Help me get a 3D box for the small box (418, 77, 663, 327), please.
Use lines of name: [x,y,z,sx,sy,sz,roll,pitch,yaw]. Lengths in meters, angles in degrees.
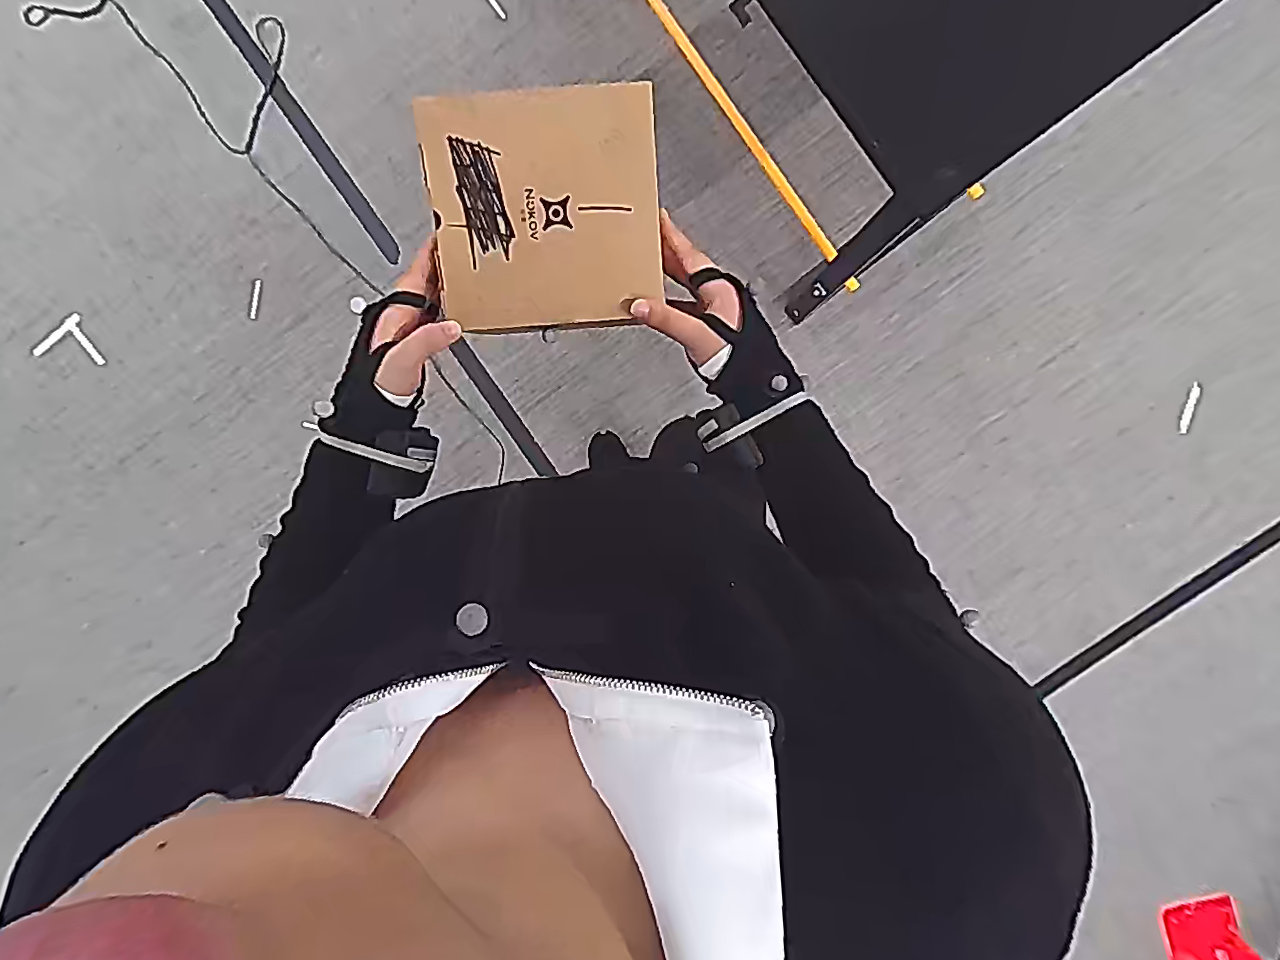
small box: [-0.075,-0.230,0.491,0.179,0.176,0.168,-5,105,-2]
